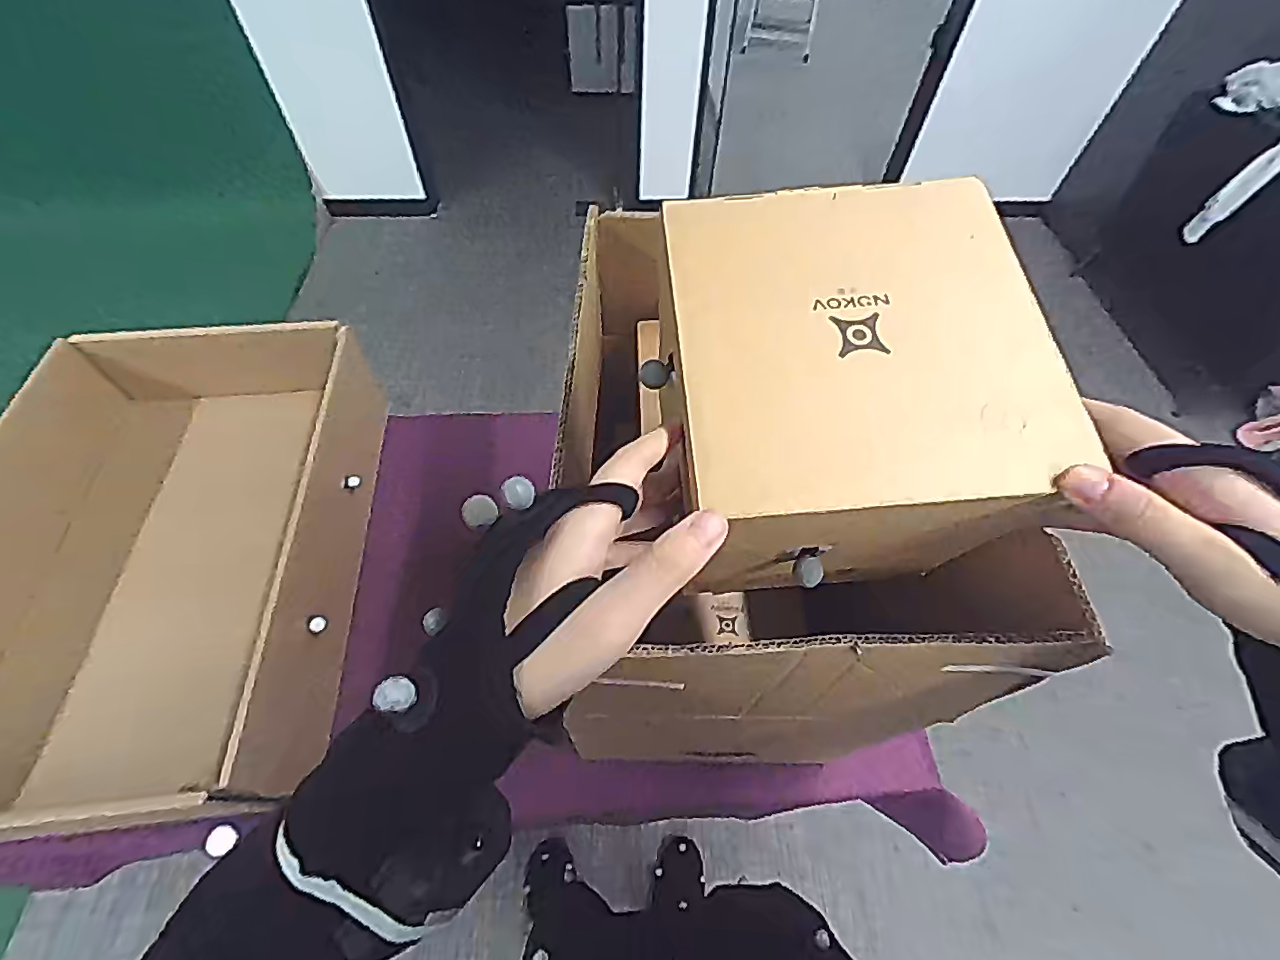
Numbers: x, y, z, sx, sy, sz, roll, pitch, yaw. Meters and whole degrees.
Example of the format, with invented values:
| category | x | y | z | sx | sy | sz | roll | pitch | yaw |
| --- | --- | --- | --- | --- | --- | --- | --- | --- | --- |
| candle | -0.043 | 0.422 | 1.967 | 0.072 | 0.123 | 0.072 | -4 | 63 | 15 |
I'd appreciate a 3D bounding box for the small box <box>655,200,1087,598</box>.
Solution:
| category | x | y | z | sx | sy | sz | roll | pitch | yaw |
| --- | --- | --- | --- | --- | --- | --- | --- | --- | --- |
| small box | 0.098 | -0.030 | 0.324 | 0.168 | 0.176 | 0.179 | -4 | 67 | 0 |
